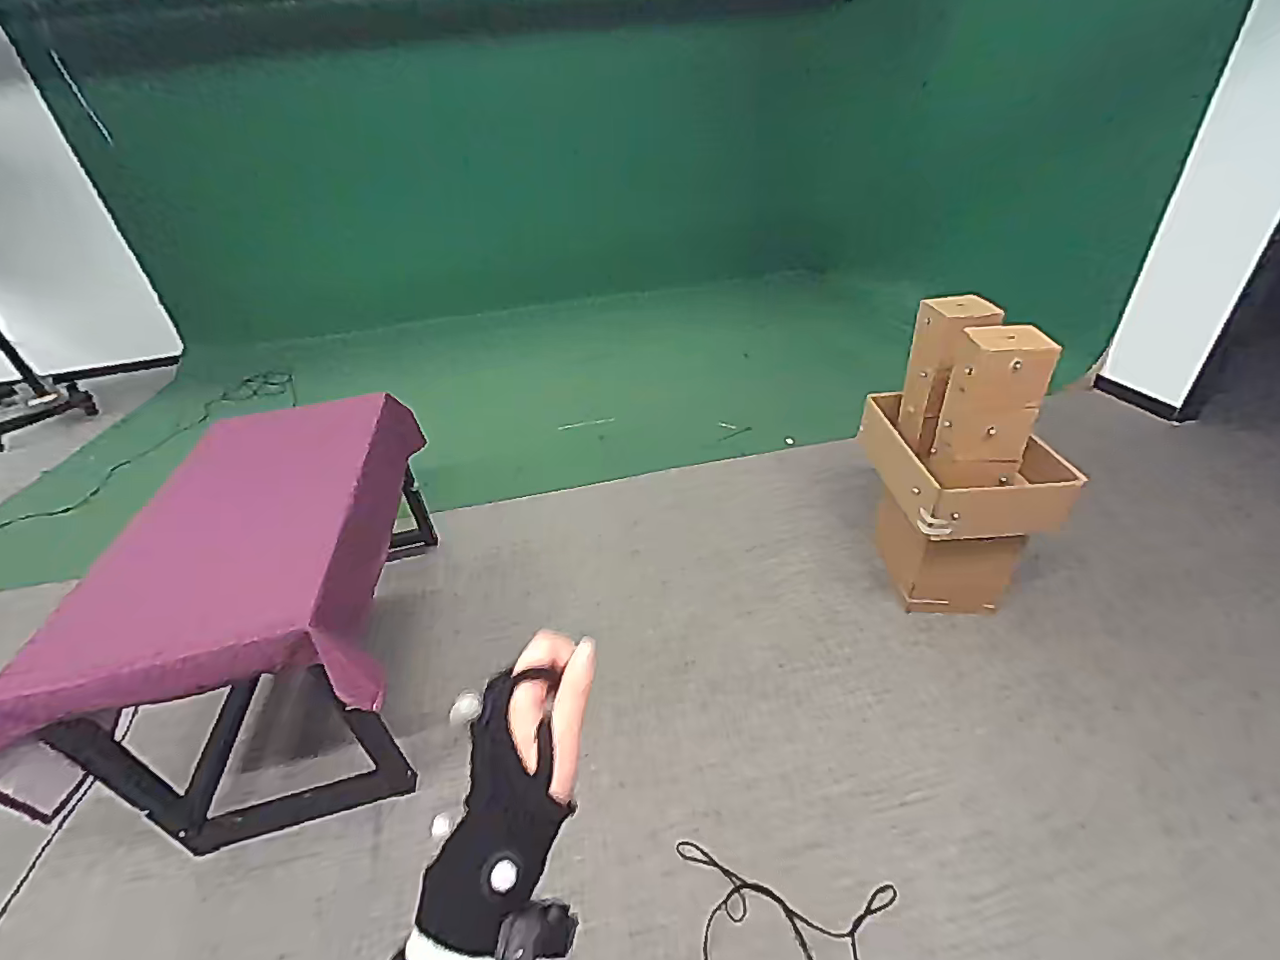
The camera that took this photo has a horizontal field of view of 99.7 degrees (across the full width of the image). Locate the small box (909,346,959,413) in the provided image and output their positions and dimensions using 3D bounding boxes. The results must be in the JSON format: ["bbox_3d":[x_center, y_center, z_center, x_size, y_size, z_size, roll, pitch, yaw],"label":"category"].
[{"bbox_3d":[1.004,-0.335,1.766,0.168,0.176,0.179,-6,36,3],"label":"small box"}]

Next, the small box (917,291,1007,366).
[{"bbox_3d":[0.983,-0.468,1.671,0.168,0.176,0.179,-6,36,3],"label":"small box"}]

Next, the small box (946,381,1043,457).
[{"bbox_3d":[0.990,-0.176,1.533,0.179,0.176,0.168,-2,35,10],"label":"small box"}]

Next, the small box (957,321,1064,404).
[{"bbox_3d":[0.972,-0.311,1.442,0.179,0.176,0.168,0,36,10],"label":"small box"}]
